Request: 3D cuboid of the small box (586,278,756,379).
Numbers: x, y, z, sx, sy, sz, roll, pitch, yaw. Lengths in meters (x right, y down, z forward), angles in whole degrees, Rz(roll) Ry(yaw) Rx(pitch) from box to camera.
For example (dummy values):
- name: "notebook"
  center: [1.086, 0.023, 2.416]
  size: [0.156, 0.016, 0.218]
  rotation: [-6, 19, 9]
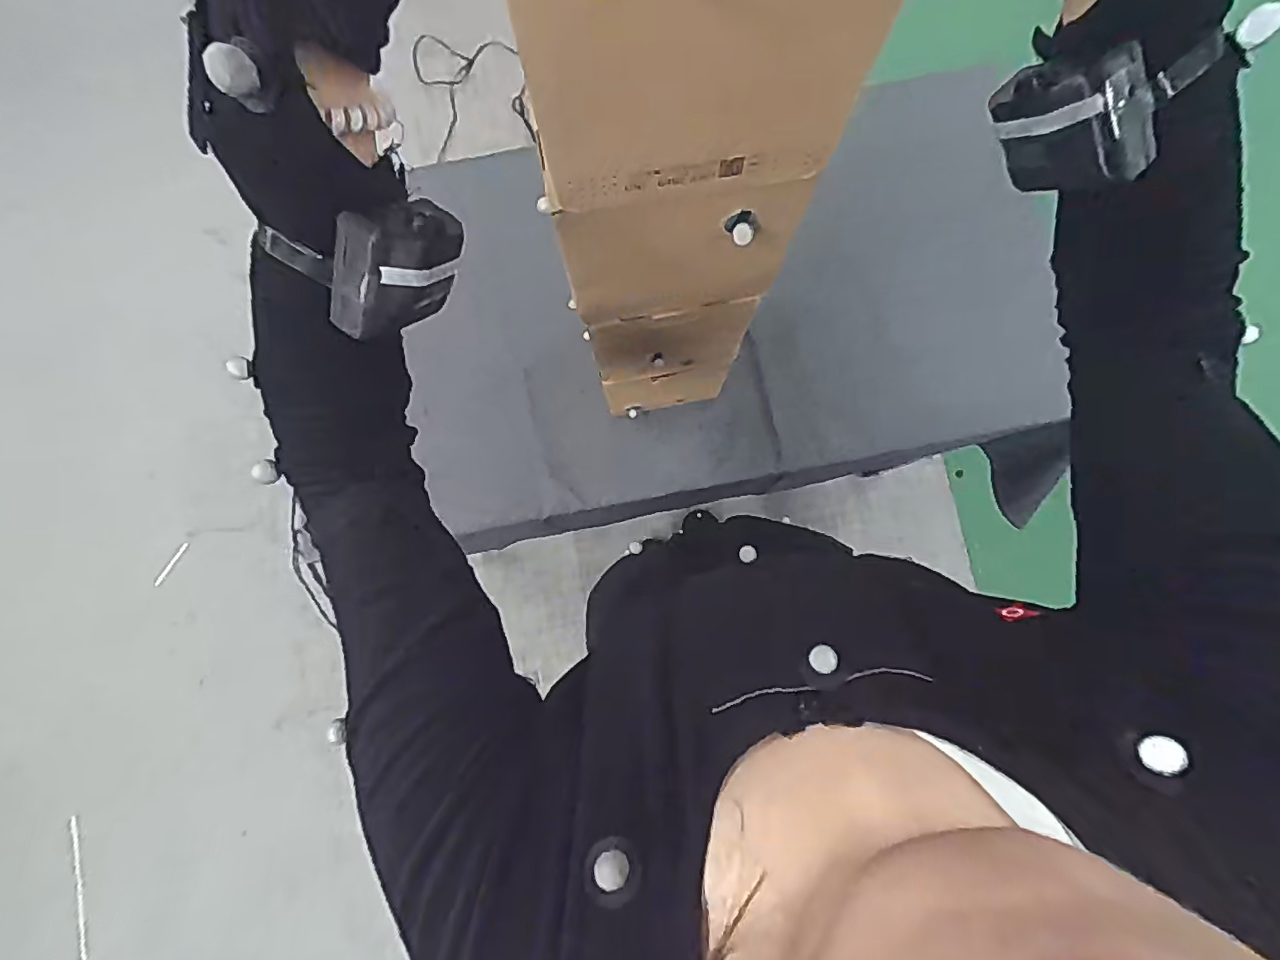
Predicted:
- name: "small box"
  center: [0.016, -0.232, 0.597]
  size: [0.168, 0.176, 0.179]
  rotation: [-11, 82, 0]

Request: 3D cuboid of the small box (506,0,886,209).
- name: "small box"
  center: [0.015, -0.274, 0.271]
  size: [0.168, 0.176, 0.179]
  rotation: [-8, 82, 0]

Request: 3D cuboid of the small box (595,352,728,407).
- name: "small box"
  center: [0.019, -0.210, 0.757]
  size: [0.168, 0.176, 0.179]
  rotation: [-11, 81, 0]

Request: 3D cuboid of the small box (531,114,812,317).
- name: "small box"
  center: [0.015, -0.251, 0.433]
  size: [0.179, 0.176, 0.168]
  rotation: [-10, 82, 1]
